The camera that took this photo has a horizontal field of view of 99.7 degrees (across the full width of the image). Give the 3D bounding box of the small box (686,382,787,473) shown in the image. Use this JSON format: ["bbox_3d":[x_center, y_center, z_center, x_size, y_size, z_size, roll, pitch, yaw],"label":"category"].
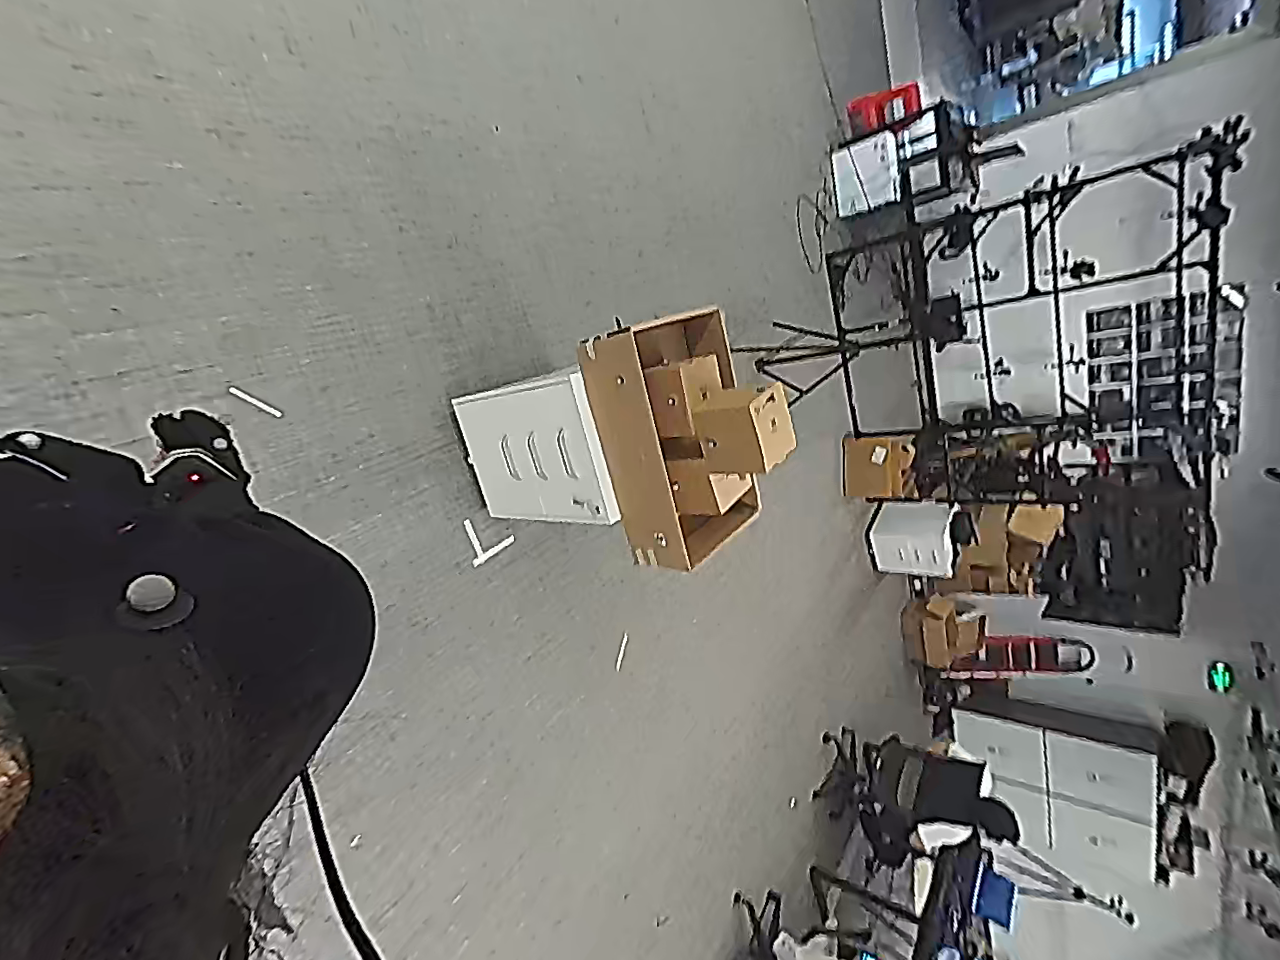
[{"bbox_3d":[0.240,-0.130,1.347,0.168,0.176,0.179,-37,116,-42],"label":"small box"}]
